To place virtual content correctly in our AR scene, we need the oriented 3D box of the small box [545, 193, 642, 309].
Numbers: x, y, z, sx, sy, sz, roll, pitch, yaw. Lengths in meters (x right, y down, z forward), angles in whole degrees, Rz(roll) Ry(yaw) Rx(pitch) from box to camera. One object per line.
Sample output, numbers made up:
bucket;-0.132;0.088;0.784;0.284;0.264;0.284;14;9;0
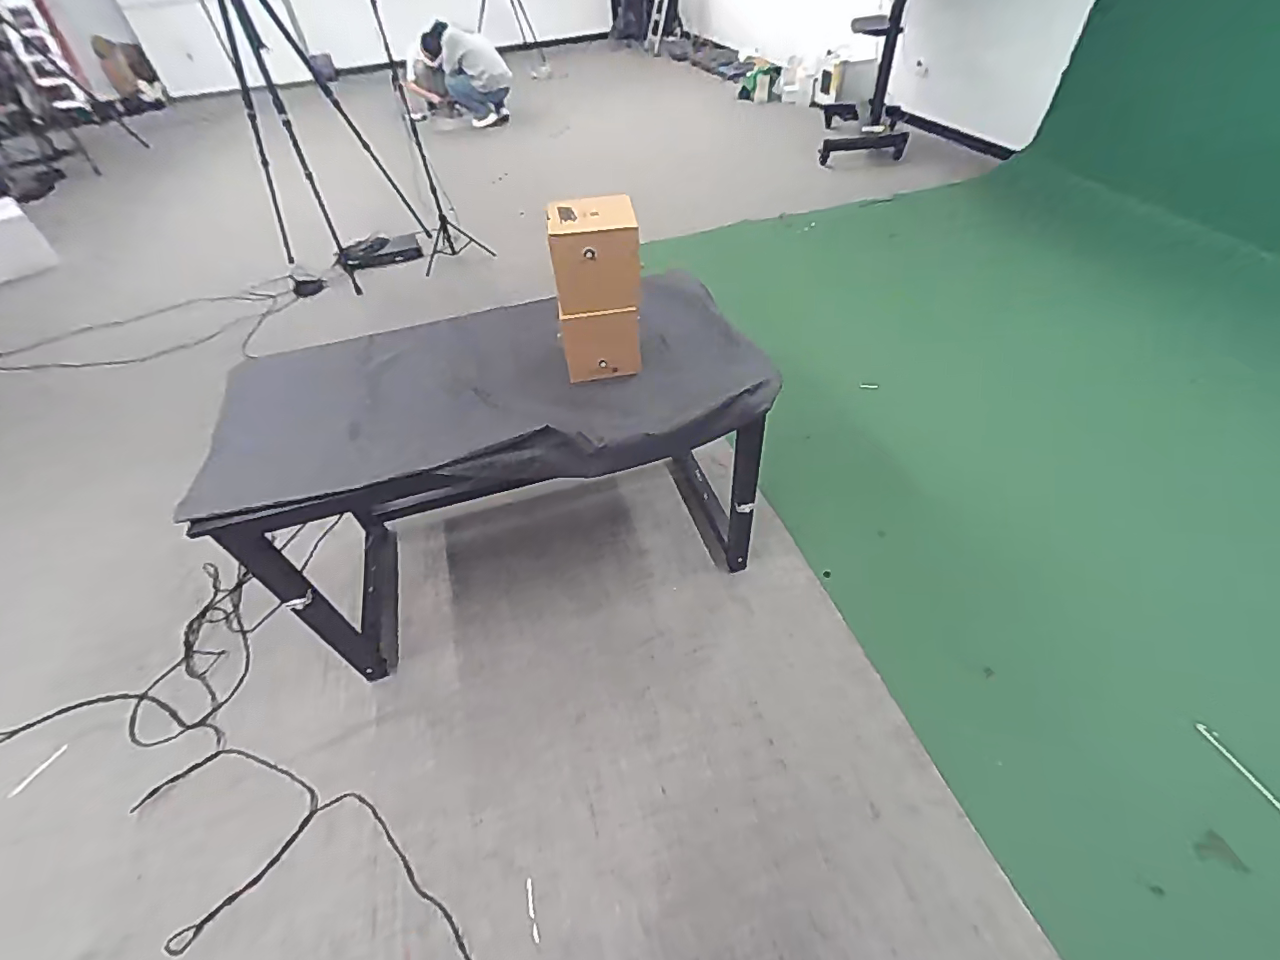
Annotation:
small box;-0.096;-0.476;1.135;0.179;0.176;0.168;-8;48;-2
